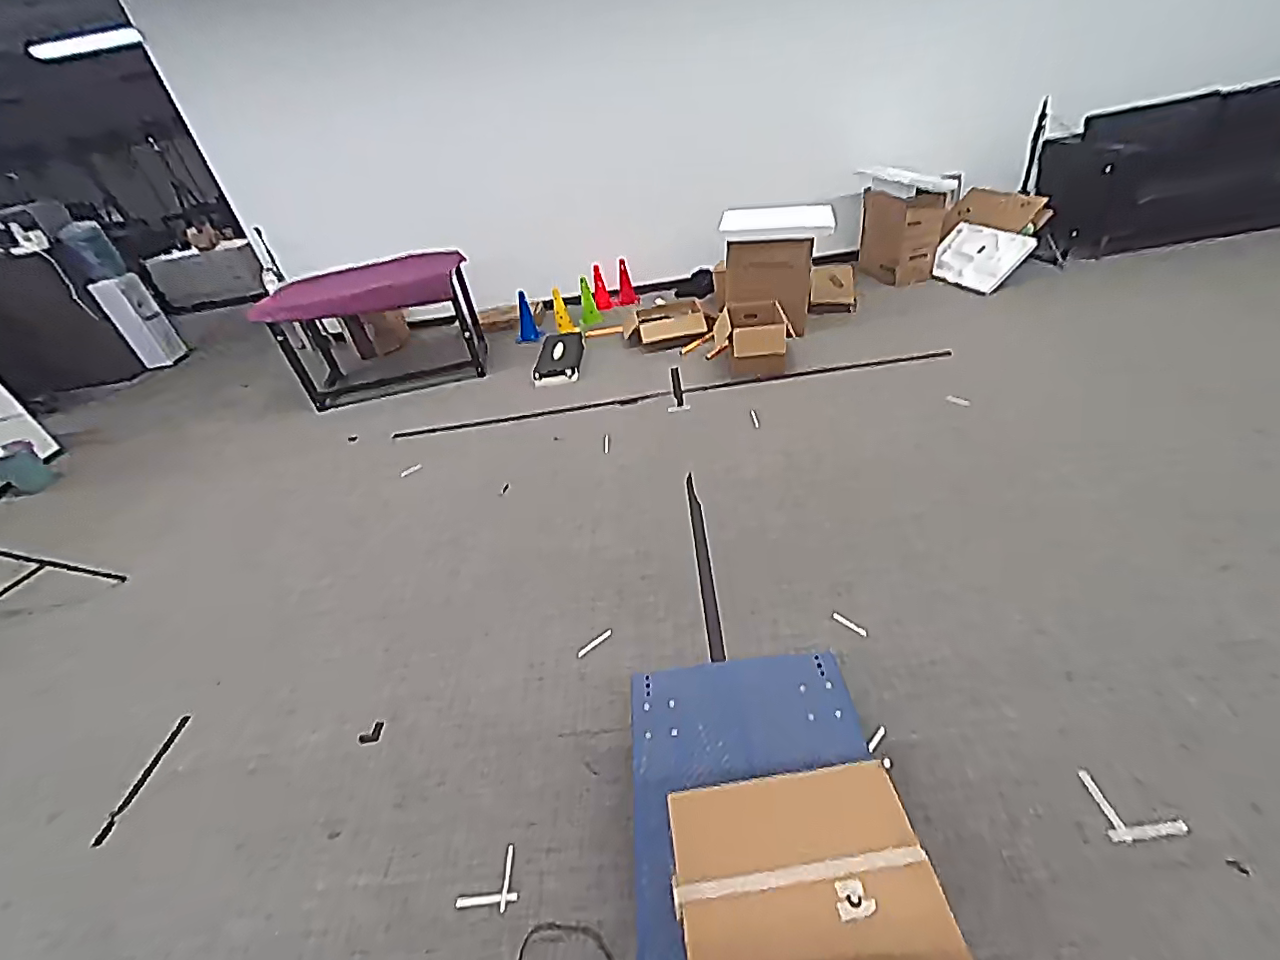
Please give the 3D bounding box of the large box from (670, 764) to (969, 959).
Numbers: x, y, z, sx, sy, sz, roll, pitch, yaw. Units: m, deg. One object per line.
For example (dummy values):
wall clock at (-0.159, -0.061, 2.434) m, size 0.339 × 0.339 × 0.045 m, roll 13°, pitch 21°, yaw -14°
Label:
large box at (0.284, 0.771, 0.973) m, size 0.408 × 0.320 × 0.320 m, roll -9°, pitch 37°, yaw 0°
